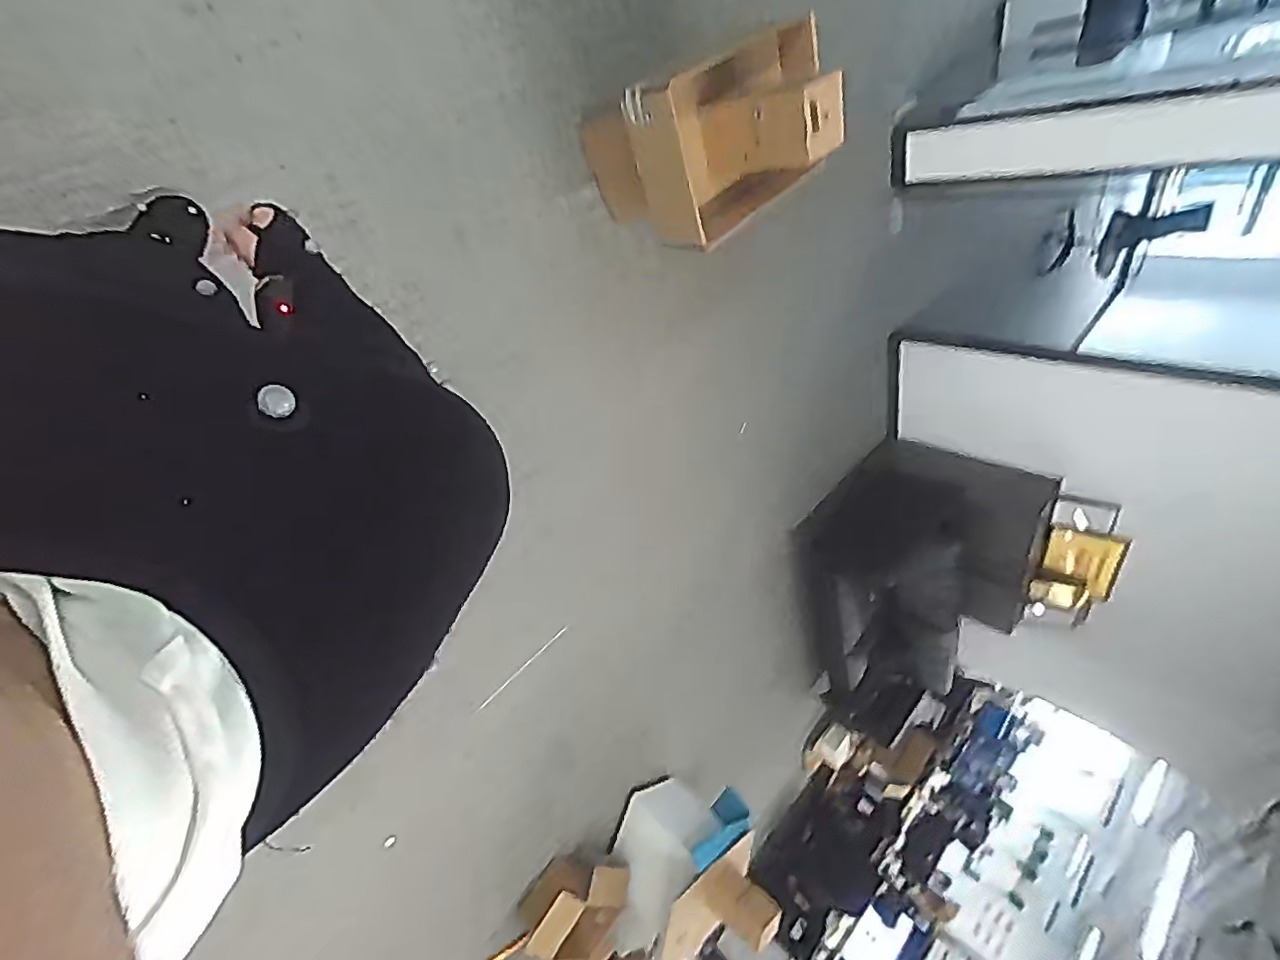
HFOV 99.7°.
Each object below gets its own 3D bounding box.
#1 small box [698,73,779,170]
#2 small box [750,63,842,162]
[{"bbox_3d":[0.282,-0.990,1.503,0.168,0.176,0.179,-43,134,-24],"label":"small box"},{"bbox_3d":[0.398,-0.942,1.397,0.179,0.176,0.168,-42,134,-25],"label":"small box"}]
